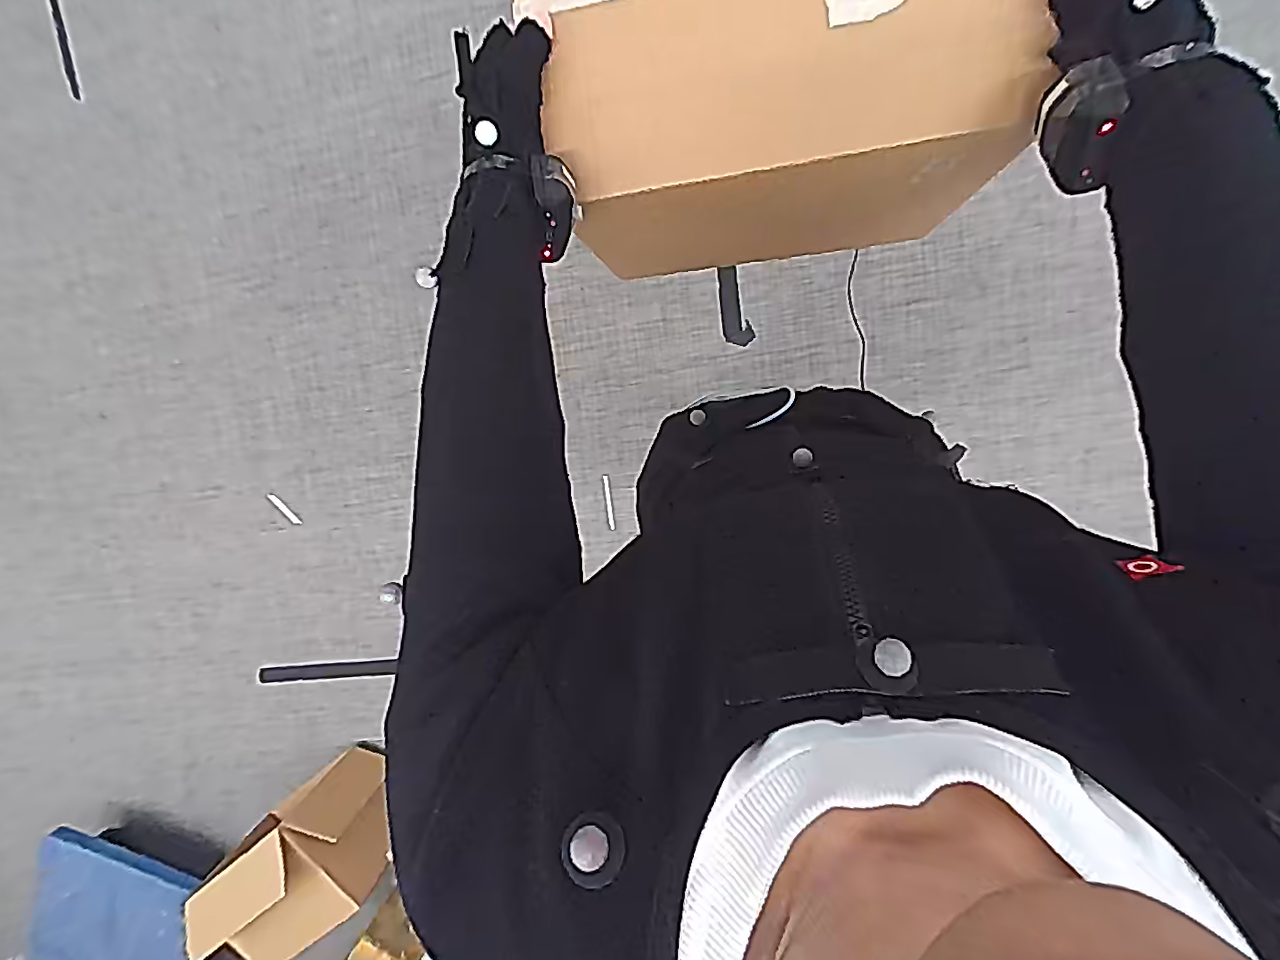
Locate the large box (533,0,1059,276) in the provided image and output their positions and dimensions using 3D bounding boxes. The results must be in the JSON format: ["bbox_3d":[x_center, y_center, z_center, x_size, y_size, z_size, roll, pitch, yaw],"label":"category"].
[{"bbox_3d":[0.126,-0.433,0.567,0.408,0.320,0.320,-5,98,10],"label":"large box"}]
